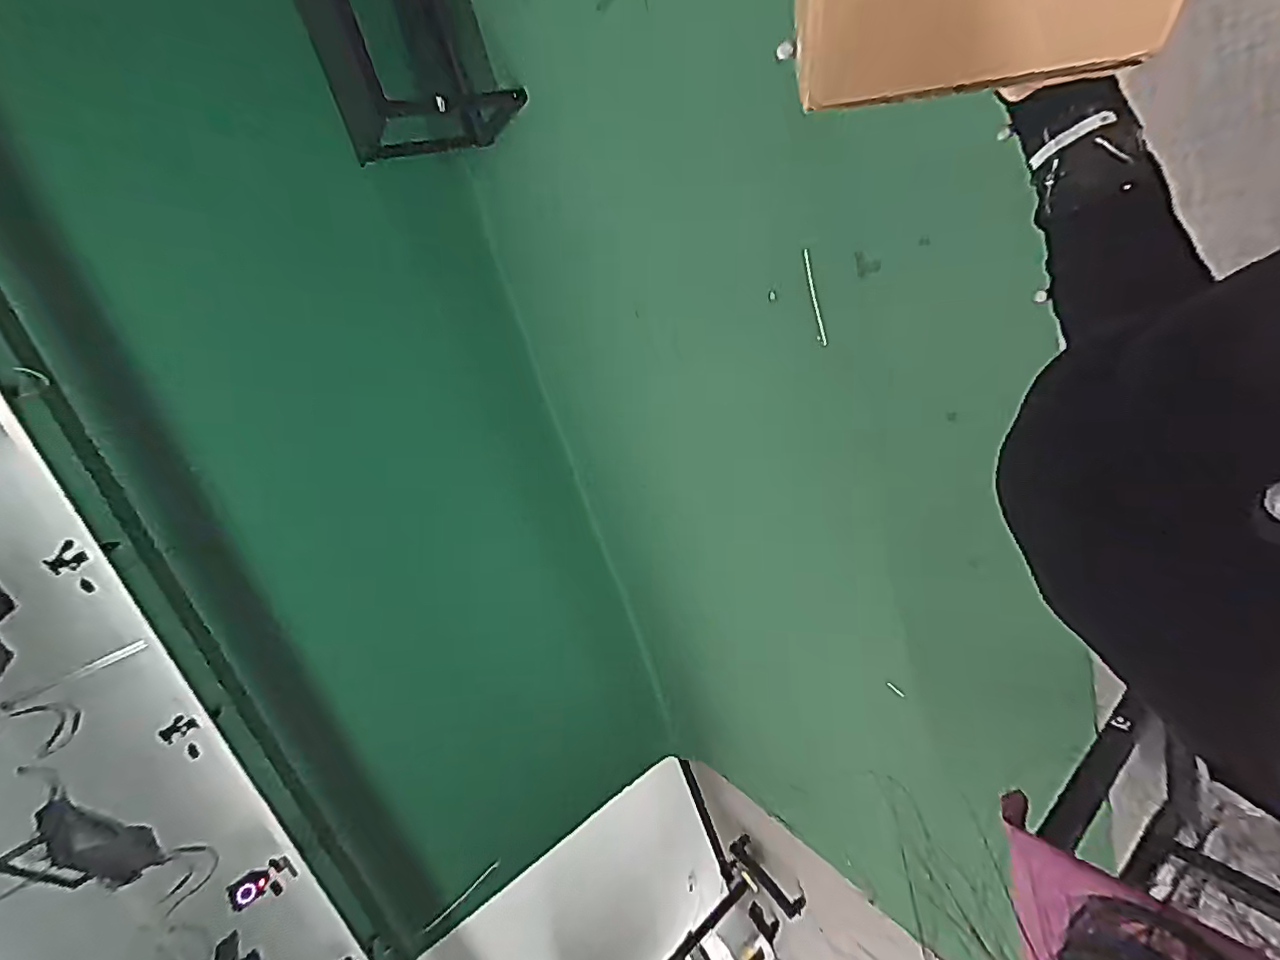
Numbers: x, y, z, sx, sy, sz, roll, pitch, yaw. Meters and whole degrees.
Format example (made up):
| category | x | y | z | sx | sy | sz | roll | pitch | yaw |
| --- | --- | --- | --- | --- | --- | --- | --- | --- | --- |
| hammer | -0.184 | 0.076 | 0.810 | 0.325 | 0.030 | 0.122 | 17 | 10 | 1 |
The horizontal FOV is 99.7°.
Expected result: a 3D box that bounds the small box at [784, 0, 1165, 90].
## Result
| category | x | y | z | sx | sy | sz | roll | pitch | yaw |
| --- | --- | --- | --- | --- | --- | --- | --- | --- | --- |
| small box | 0.169 | -0.337 | 0.284 | 0.179 | 0.168 | 0.176 | -1 | 134 | 13 |
